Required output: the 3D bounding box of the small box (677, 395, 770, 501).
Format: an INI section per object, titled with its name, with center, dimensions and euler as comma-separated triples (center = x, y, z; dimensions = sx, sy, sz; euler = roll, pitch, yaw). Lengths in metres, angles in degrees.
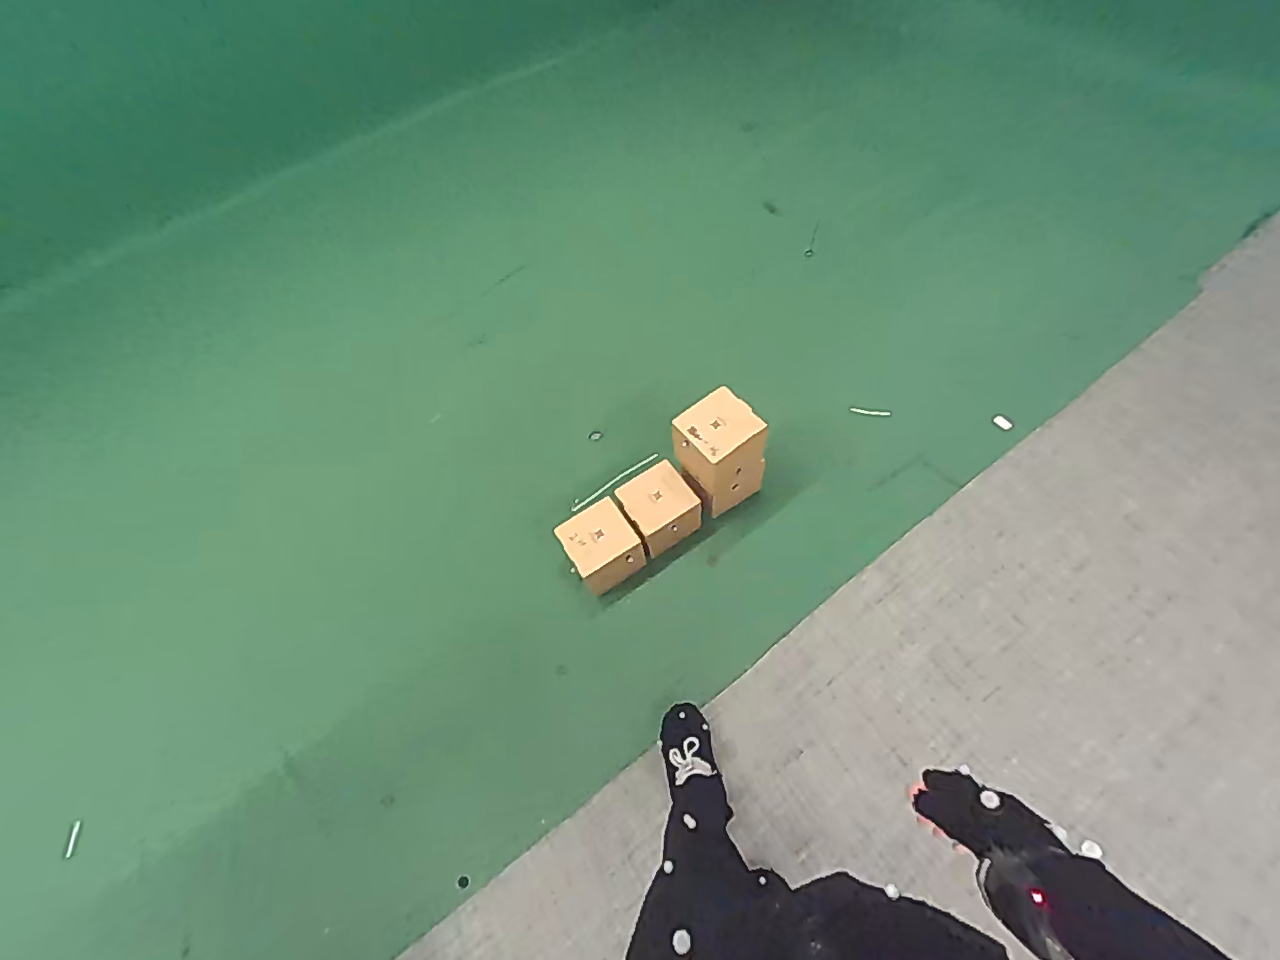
[small box]
center = 0.210, -0.079, 1.401
dimensions = 0.179, 0.176, 0.168
euler = -34, 62, -13
